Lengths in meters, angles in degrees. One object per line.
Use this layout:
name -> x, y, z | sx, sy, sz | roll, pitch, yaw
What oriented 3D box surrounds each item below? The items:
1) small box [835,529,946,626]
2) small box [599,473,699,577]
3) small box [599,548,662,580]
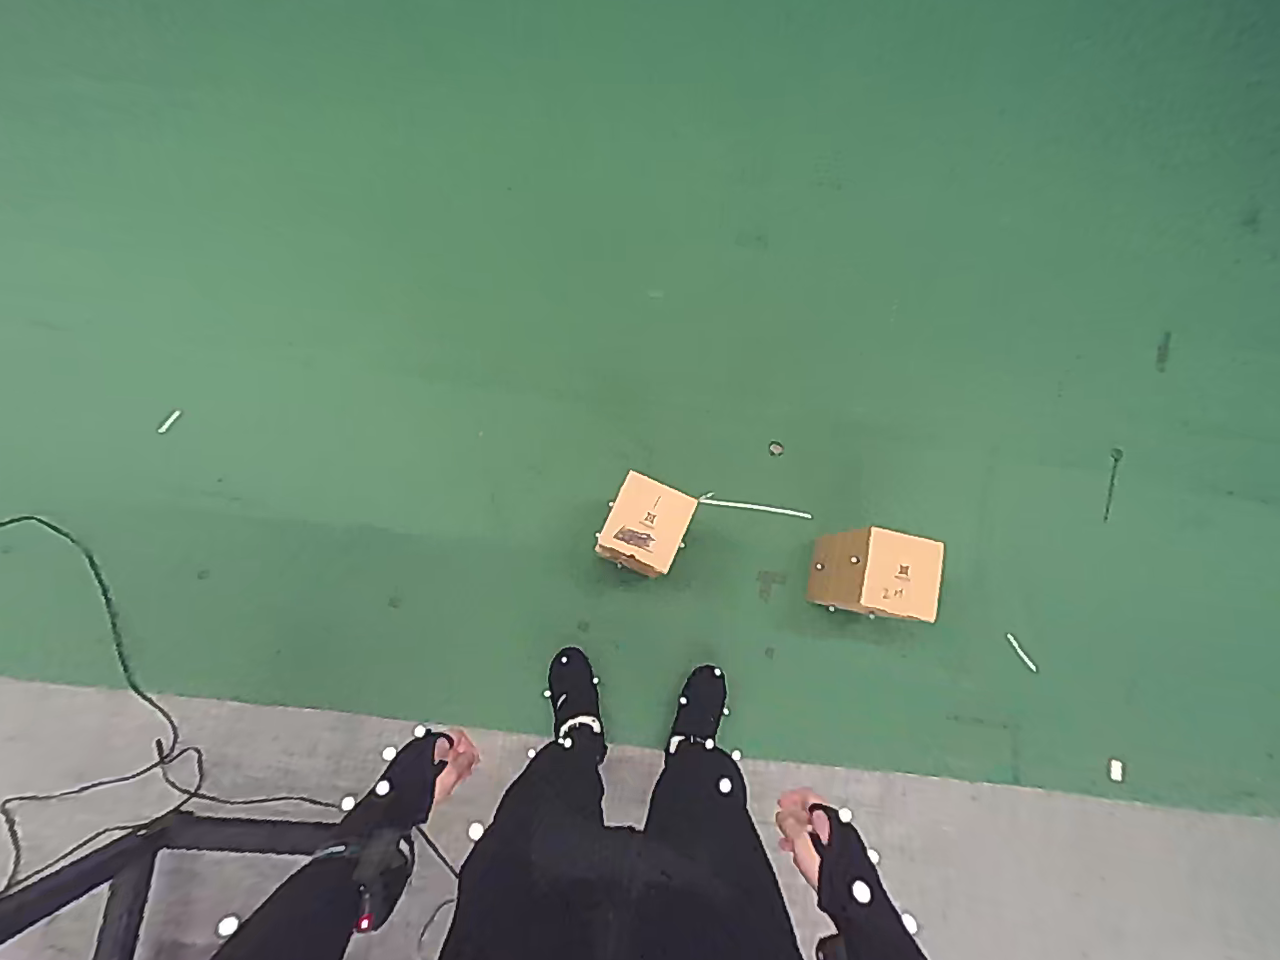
small box -> 0.563, 0.222, 1.232 | 0.168, 0.176, 0.179 | 13, 79, 0
small box -> 0.018, 0.109, 1.230 | 0.168, 0.176, 0.179 | 25, 79, 1
small box -> 0.001, 0.145, 1.389 | 0.168, 0.176, 0.179 | 22, 80, 1
